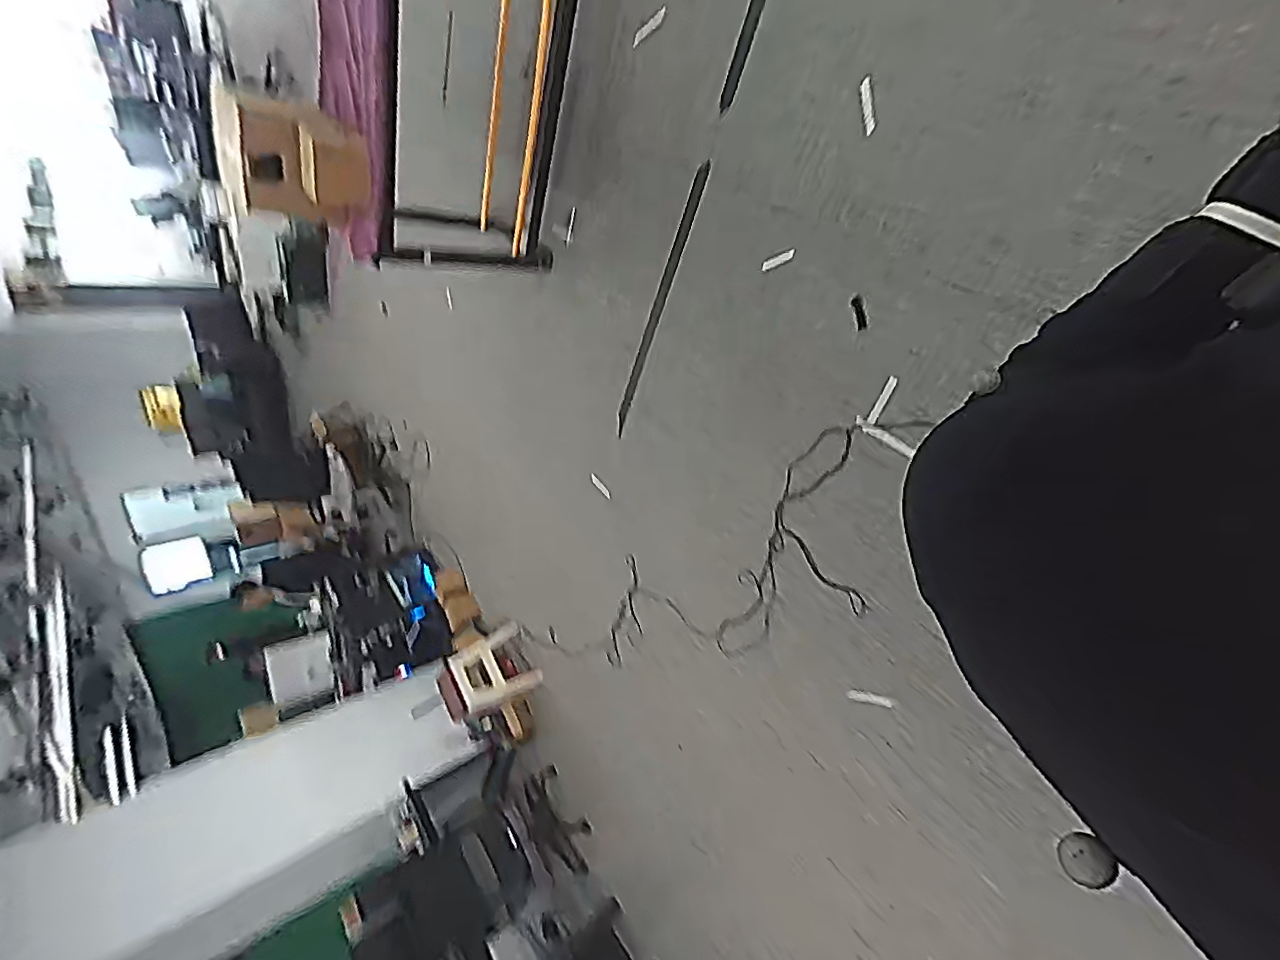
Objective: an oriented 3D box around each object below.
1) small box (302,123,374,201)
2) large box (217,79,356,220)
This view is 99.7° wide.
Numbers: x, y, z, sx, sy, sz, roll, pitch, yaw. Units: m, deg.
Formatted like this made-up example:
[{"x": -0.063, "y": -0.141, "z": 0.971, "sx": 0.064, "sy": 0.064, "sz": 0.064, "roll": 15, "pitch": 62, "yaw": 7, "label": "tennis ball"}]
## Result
[{"x": -0.971, "y": -1.021, "z": 1.745, "sx": 0.168, "sy": 0.176, "sz": 0.179, "roll": 43, "pitch": 131, "yaw": 34, "label": "small box"}, {"x": -1.245, "y": -1.159, "z": 1.910, "sx": 0.408, "sy": 0.320, "sz": 0.320, "roll": 42, "pitch": 129, "yaw": 30, "label": "large box"}]
